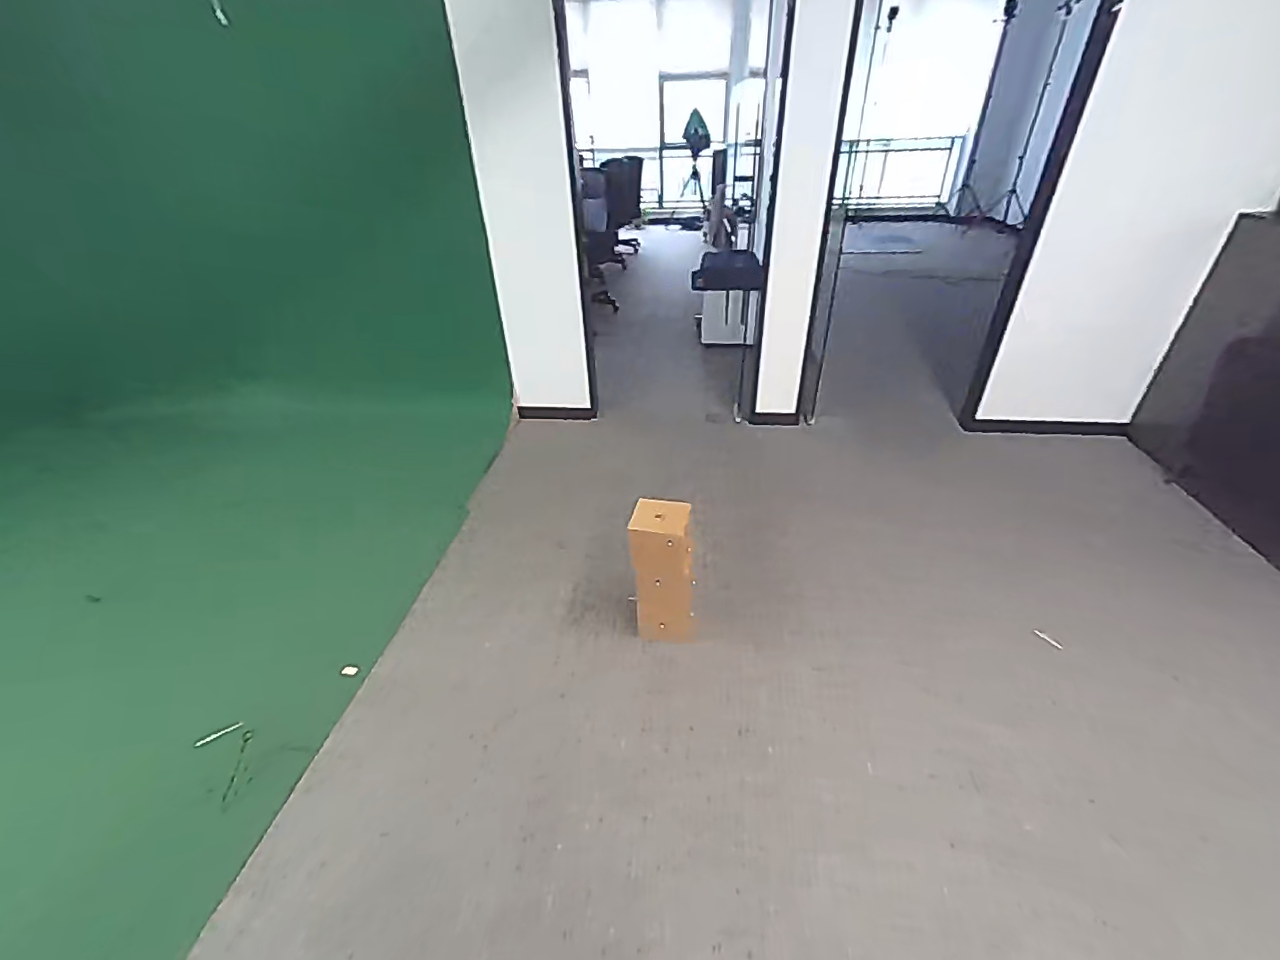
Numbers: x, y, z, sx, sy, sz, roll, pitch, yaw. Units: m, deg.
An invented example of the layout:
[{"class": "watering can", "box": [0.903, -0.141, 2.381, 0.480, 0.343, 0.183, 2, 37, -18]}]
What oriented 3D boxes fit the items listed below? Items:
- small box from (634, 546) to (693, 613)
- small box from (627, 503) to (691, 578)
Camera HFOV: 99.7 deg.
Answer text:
[{"class": "small box", "box": [0.085, 0.331, 1.827, 0.179, 0.176, 0.168, 4, 35, 10]}, {"class": "small box", "box": [0.065, 0.195, 1.738, 0.179, 0.176, 0.168, 6, 35, 12]}]
